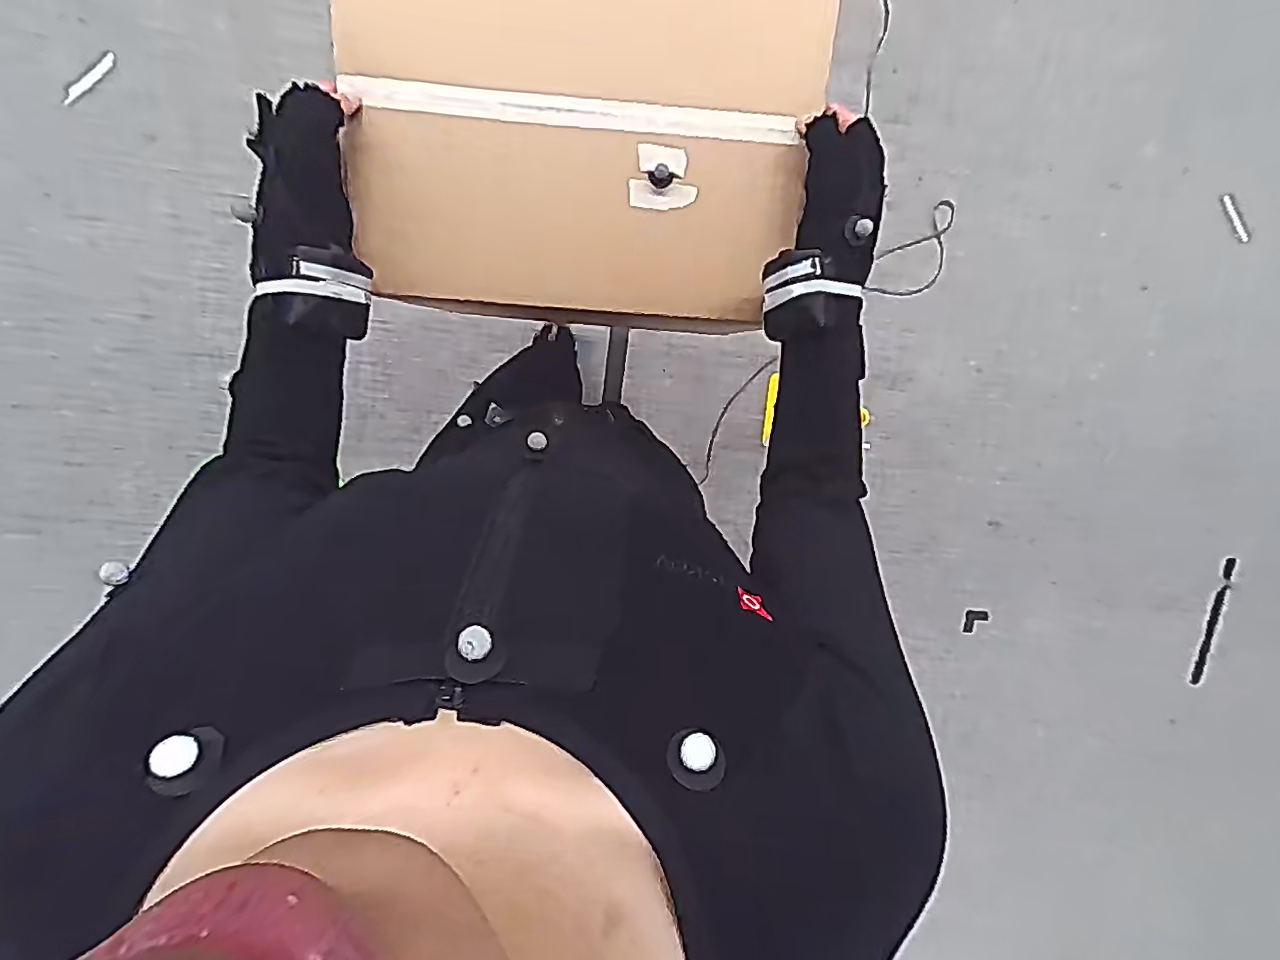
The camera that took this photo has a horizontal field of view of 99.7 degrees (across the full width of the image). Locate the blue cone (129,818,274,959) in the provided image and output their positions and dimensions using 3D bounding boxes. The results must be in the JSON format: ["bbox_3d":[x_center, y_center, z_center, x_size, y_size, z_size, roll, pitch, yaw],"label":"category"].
[{"bbox_3d":[-1.171,1.110,1.426,0.192,0.380,0.193,9,98,-2],"label":"blue cone"}]

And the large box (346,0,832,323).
[{"bbox_3d":[-0.052,-0.353,0.602,0.408,0.320,0.320,3,104,-4],"label":"large box"}]
